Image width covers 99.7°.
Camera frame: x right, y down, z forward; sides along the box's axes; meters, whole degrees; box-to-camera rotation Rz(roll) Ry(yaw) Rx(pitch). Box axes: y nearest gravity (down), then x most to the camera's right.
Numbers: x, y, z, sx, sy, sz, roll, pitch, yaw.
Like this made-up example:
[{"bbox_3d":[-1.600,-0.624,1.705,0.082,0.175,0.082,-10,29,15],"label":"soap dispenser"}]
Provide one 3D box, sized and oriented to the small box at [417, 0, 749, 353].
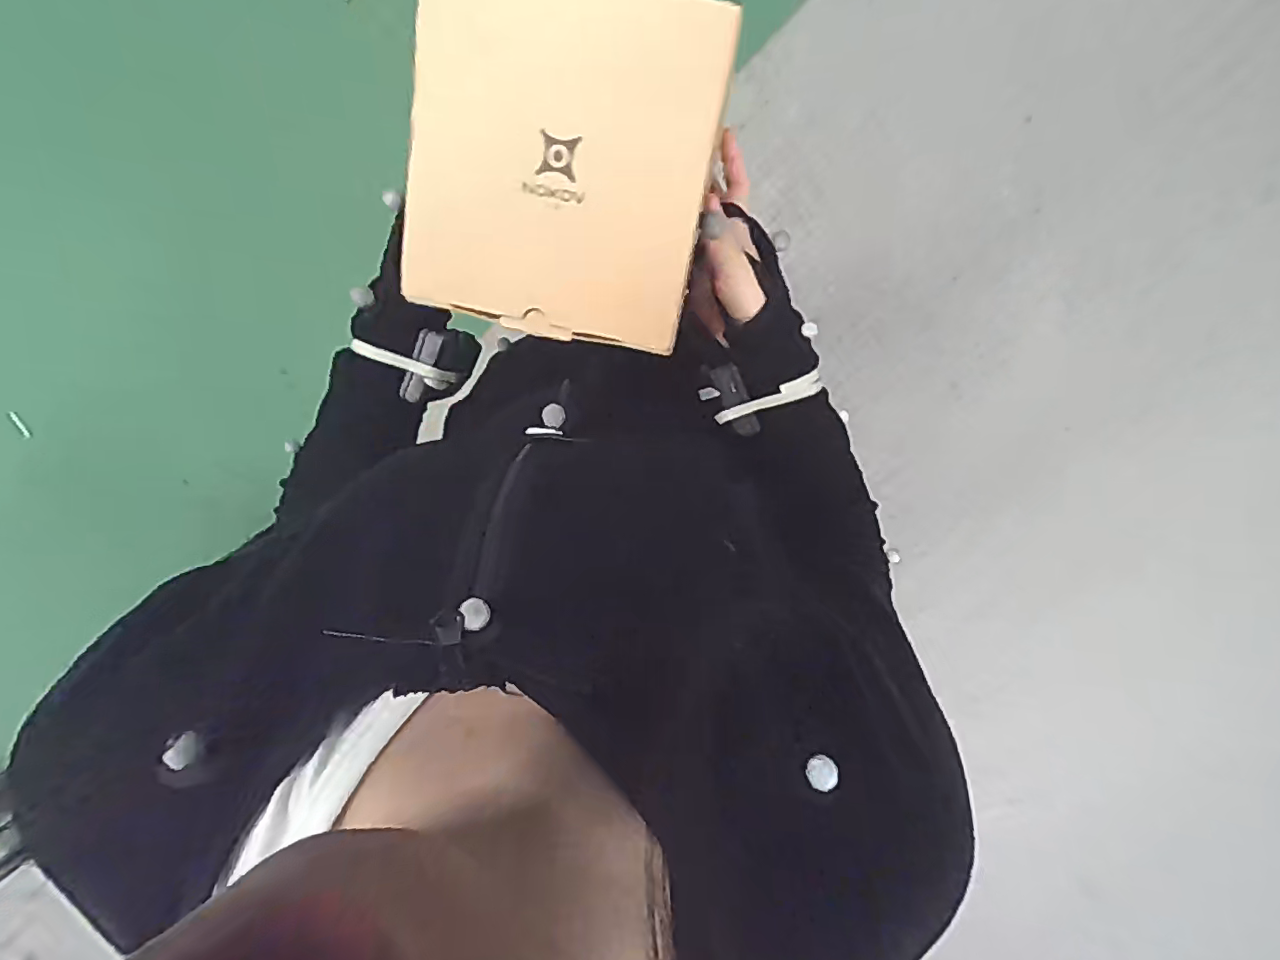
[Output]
[{"bbox_3d":[-0.035,-0.198,0.378,0.168,0.176,0.179,12,109,0],"label":"small box"}]
